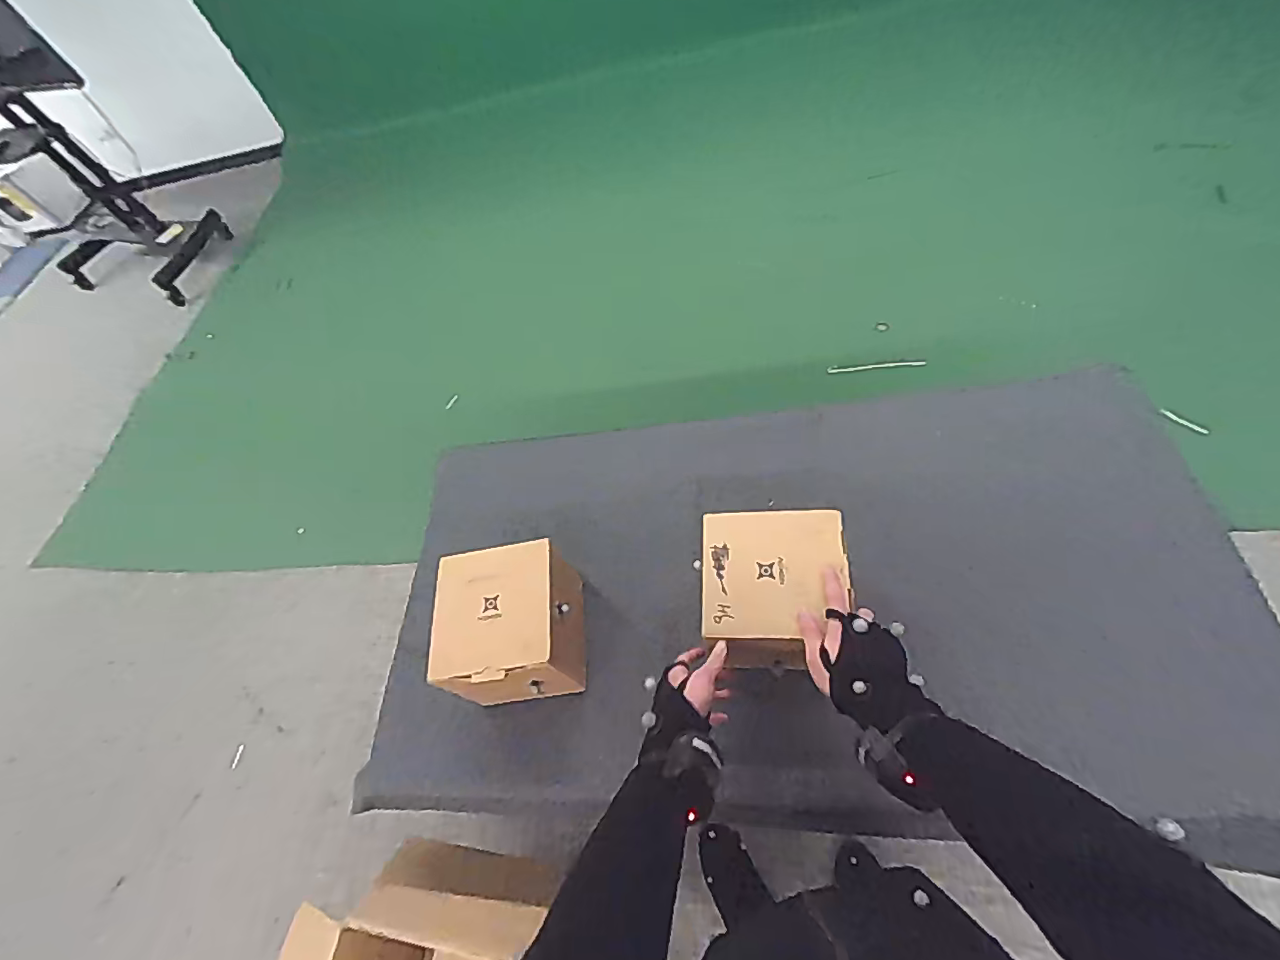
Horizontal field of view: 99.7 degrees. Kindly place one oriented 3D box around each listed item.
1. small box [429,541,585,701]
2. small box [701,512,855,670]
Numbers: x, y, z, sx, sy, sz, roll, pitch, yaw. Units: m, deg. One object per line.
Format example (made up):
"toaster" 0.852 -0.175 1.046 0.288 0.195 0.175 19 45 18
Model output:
"small box" -0.181 0.213 0.788 0.168 0.176 0.179 -11 56 6
"small box" 0.178 0.154 0.729 0.179 0.176 0.168 -2 59 12
